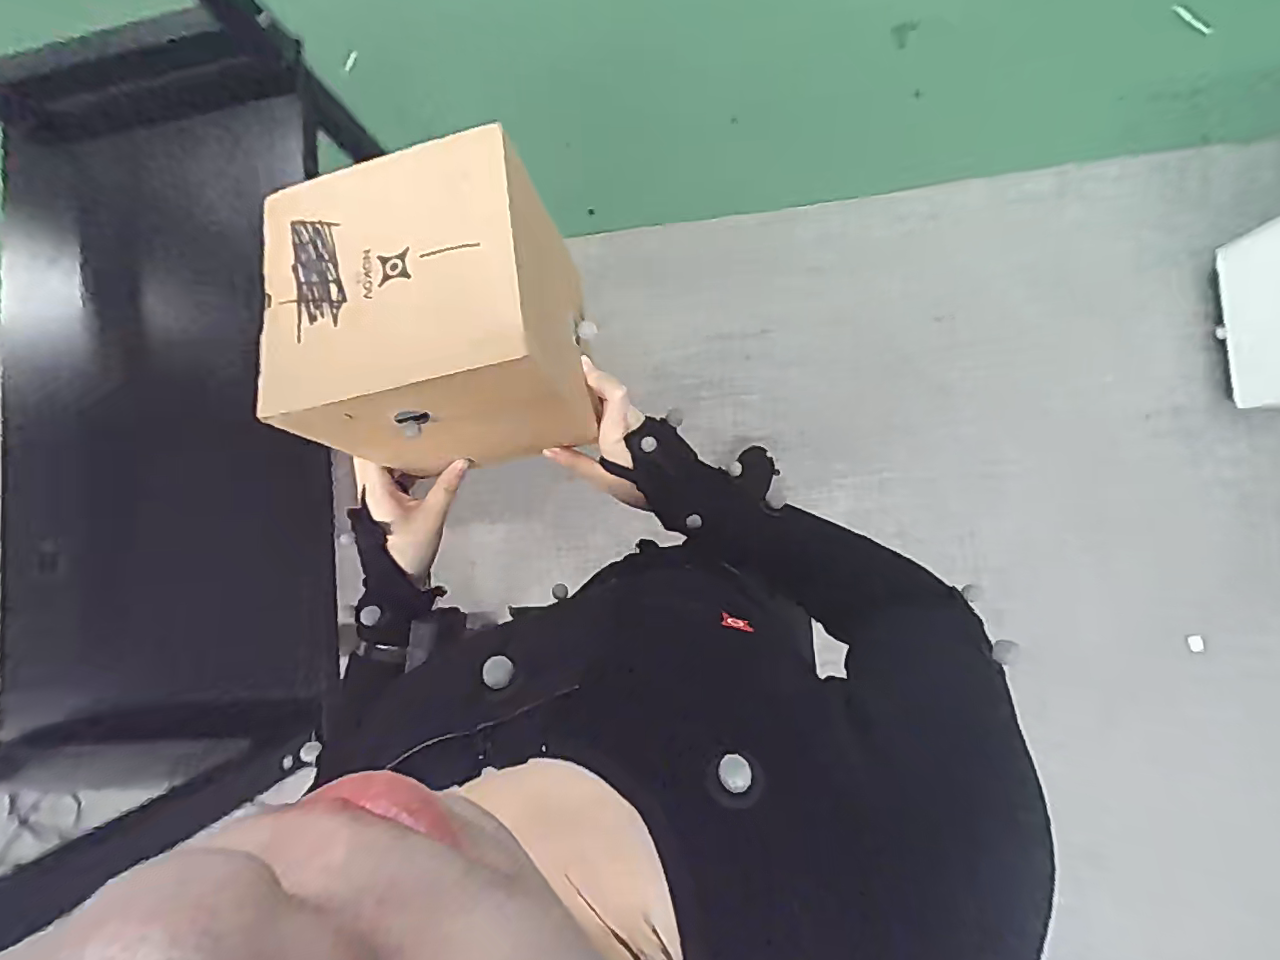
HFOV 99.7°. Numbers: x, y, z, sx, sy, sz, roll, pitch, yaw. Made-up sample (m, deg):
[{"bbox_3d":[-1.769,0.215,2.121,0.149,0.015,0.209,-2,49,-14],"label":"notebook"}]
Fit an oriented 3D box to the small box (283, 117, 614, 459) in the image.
[{"bbox_3d":[-0.130,-0.123,0.416,0.179,0.176,0.168,-10,76,8],"label":"small box"}]
